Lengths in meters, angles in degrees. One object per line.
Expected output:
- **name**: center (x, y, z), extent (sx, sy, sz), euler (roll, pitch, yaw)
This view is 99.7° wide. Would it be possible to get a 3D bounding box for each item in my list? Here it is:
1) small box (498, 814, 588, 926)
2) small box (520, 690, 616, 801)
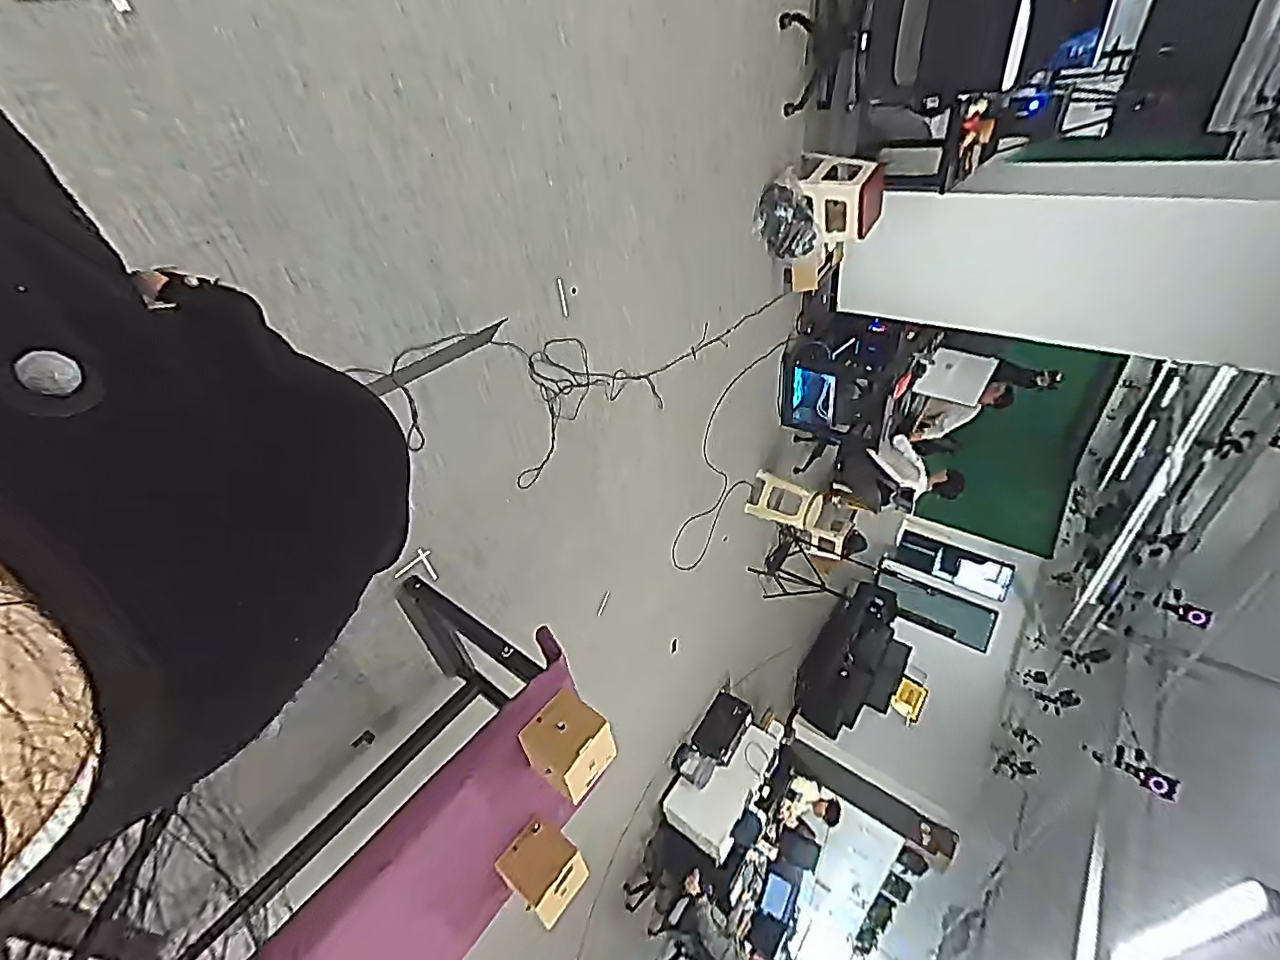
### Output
- **small box**: center (-0.272, 1.082, 1.515), extent (0.168, 0.176, 0.179), euler (-40, 137, -37)
- **small box**: center (-0.188, 0.681, 1.409), extent (0.168, 0.176, 0.179), euler (-40, 138, -36)
